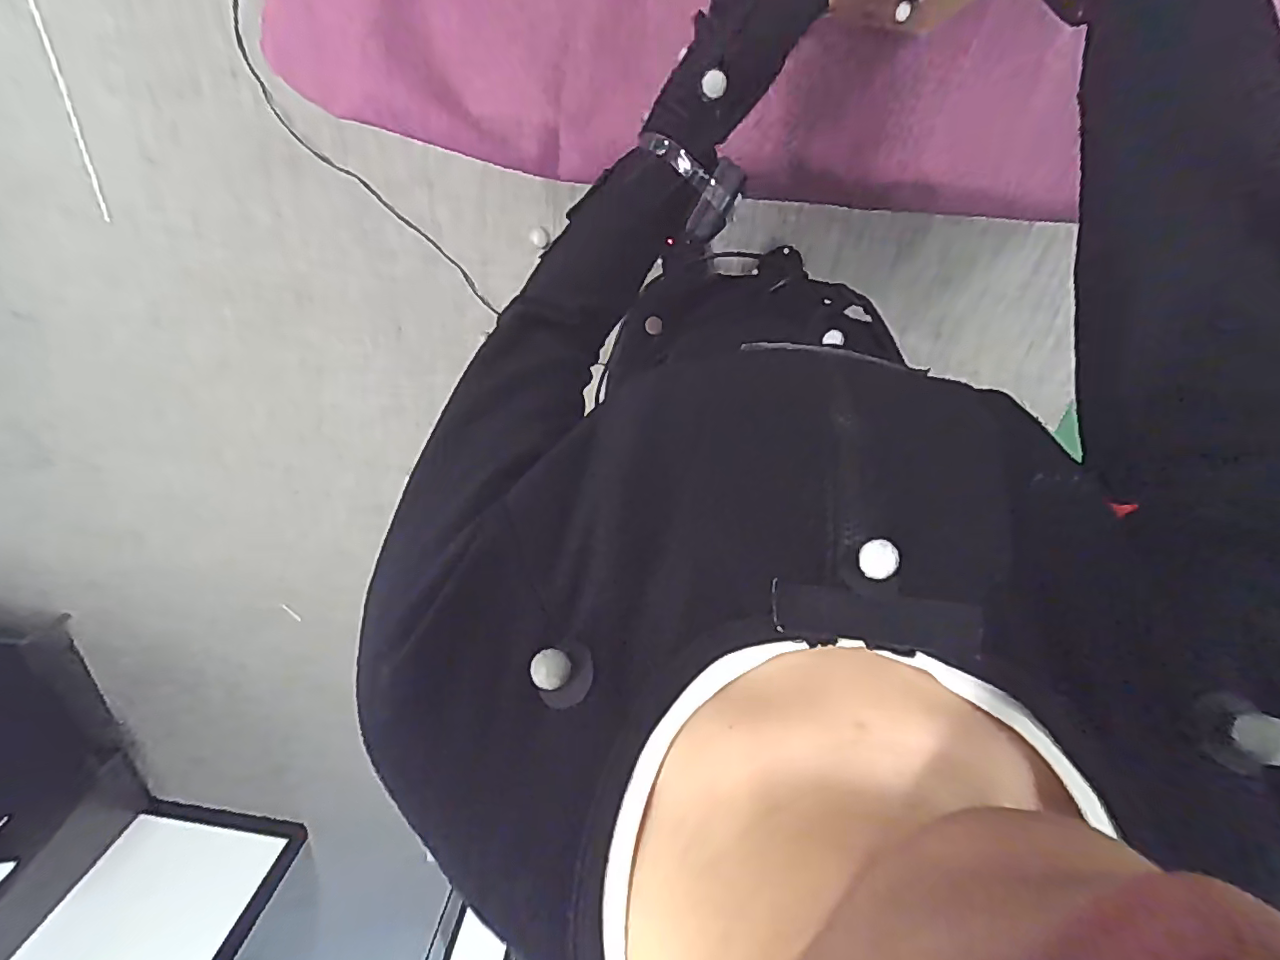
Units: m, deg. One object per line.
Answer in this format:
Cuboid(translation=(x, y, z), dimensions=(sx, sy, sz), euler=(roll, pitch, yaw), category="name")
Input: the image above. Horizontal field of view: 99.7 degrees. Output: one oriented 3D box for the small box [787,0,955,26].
Cuboid(translation=(0.197, -0.475, 0.401), dimensions=(0.168, 0.176, 0.179), euler=(11, 118, 1), category="small box")
